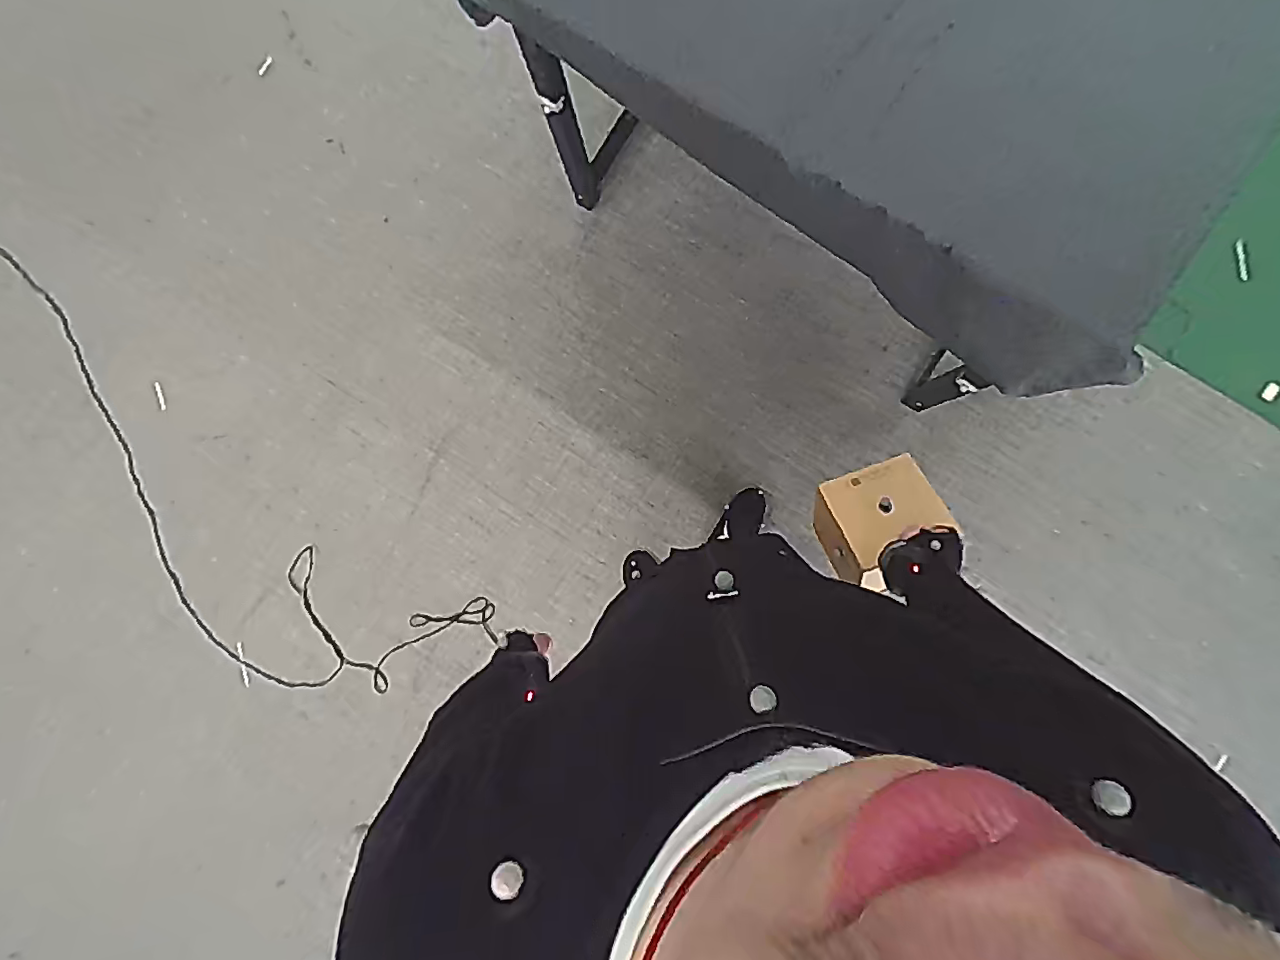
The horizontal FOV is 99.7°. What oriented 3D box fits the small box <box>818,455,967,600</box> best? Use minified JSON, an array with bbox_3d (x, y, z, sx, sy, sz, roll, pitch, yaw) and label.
[{"bbox_3d":[0.423,0.078,0.938,0.168,0.179,0.176,-24,56,4],"label":"small box"}]
